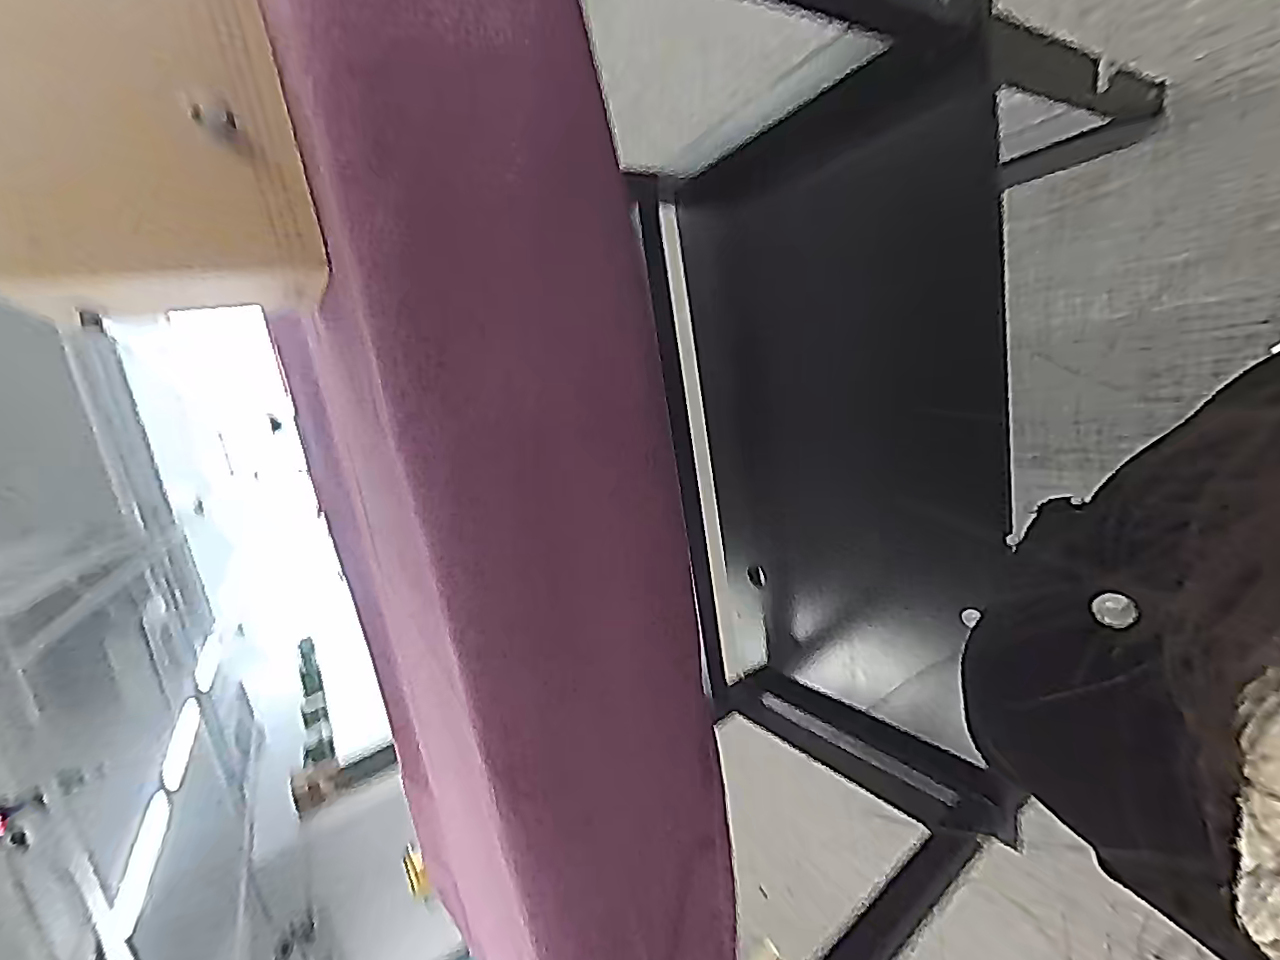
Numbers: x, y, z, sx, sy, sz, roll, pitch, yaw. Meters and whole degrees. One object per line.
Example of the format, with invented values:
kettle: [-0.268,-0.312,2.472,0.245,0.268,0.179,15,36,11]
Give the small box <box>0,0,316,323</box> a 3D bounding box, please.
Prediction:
small box: [-0.337,-0.209,0.361,0.168,0.176,0.179,10,113,56]
